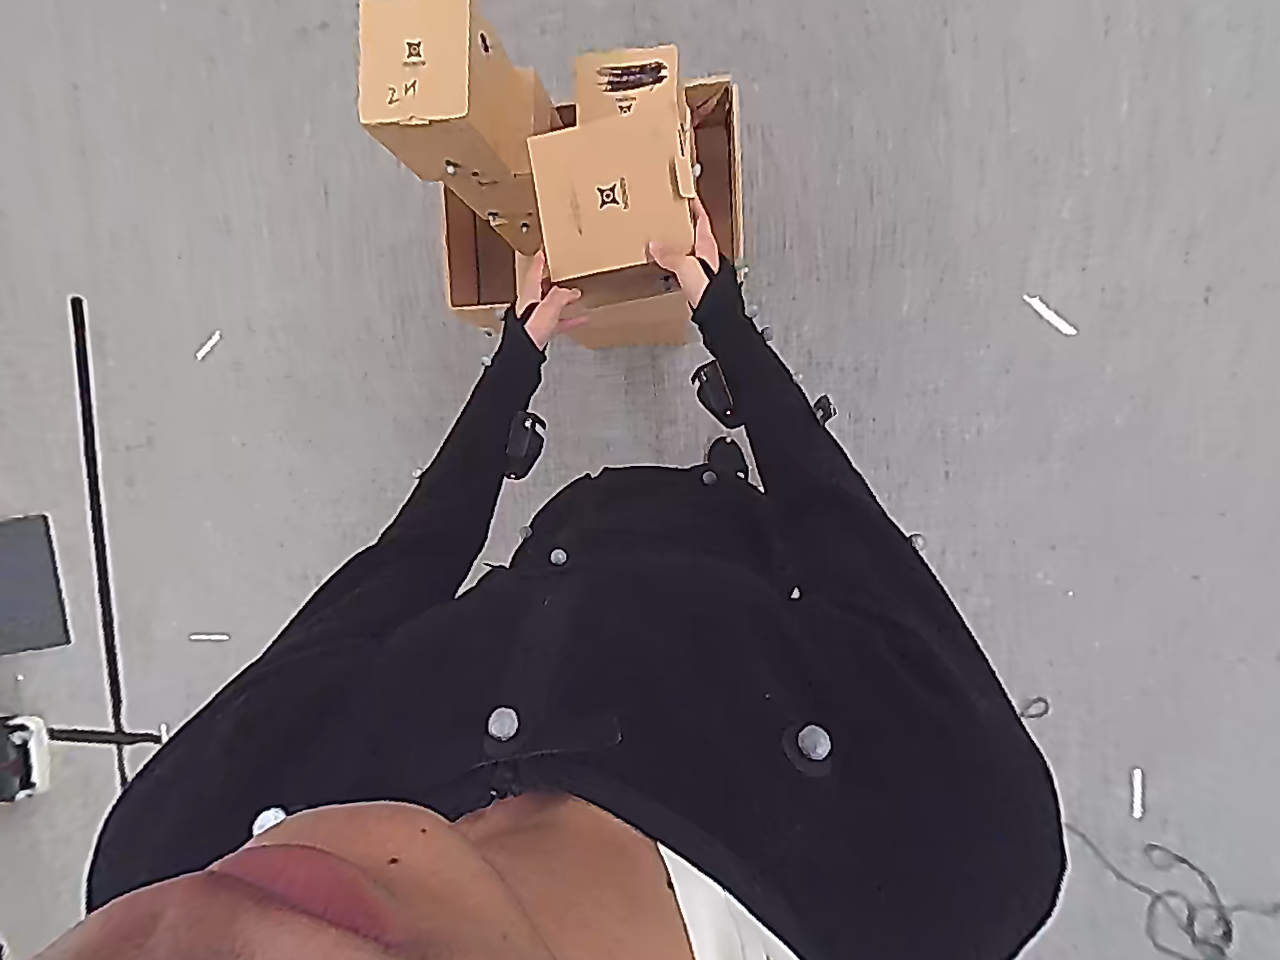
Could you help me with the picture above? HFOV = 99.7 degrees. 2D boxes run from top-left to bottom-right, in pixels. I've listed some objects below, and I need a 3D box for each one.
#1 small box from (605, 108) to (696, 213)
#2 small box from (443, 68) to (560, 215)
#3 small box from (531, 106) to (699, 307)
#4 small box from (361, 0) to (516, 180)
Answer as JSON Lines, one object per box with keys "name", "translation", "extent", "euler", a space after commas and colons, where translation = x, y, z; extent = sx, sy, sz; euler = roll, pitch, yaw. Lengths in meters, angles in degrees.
{"name": "small box", "translation": [0.025, -0.615, 1.106], "extent": [0.168, 0.176, 0.179], "euler": [0, 94, 10]}
{"name": "small box", "translation": [-0.243, -0.598, 0.982], "extent": [0.168, 0.176, 0.179], "euler": [2, 93, 8]}
{"name": "small box", "translation": [-0.020, -0.332, 0.694], "extent": [0.179, 0.176, 0.168], "euler": [-8, 95, 9]}
{"name": "small box", "translation": [-0.297, -0.587, 0.824], "extent": [0.168, 0.176, 0.179], "euler": [3, 94, 8]}
